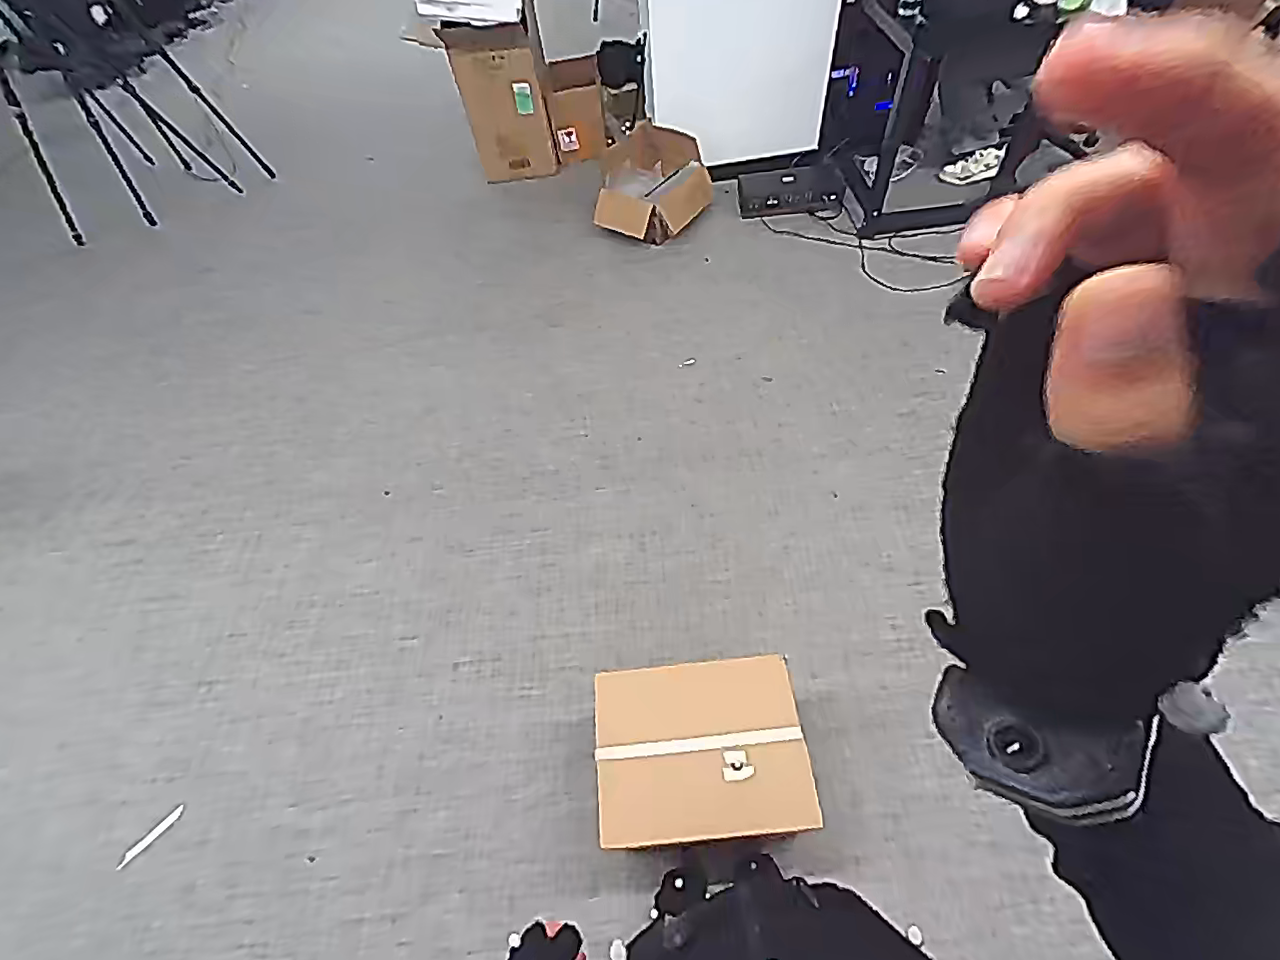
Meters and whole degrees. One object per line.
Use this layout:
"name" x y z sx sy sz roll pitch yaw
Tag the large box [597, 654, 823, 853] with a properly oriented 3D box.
"large box" 0.131 0.601 1.176 0.408 0.320 0.320 -7 55 1
